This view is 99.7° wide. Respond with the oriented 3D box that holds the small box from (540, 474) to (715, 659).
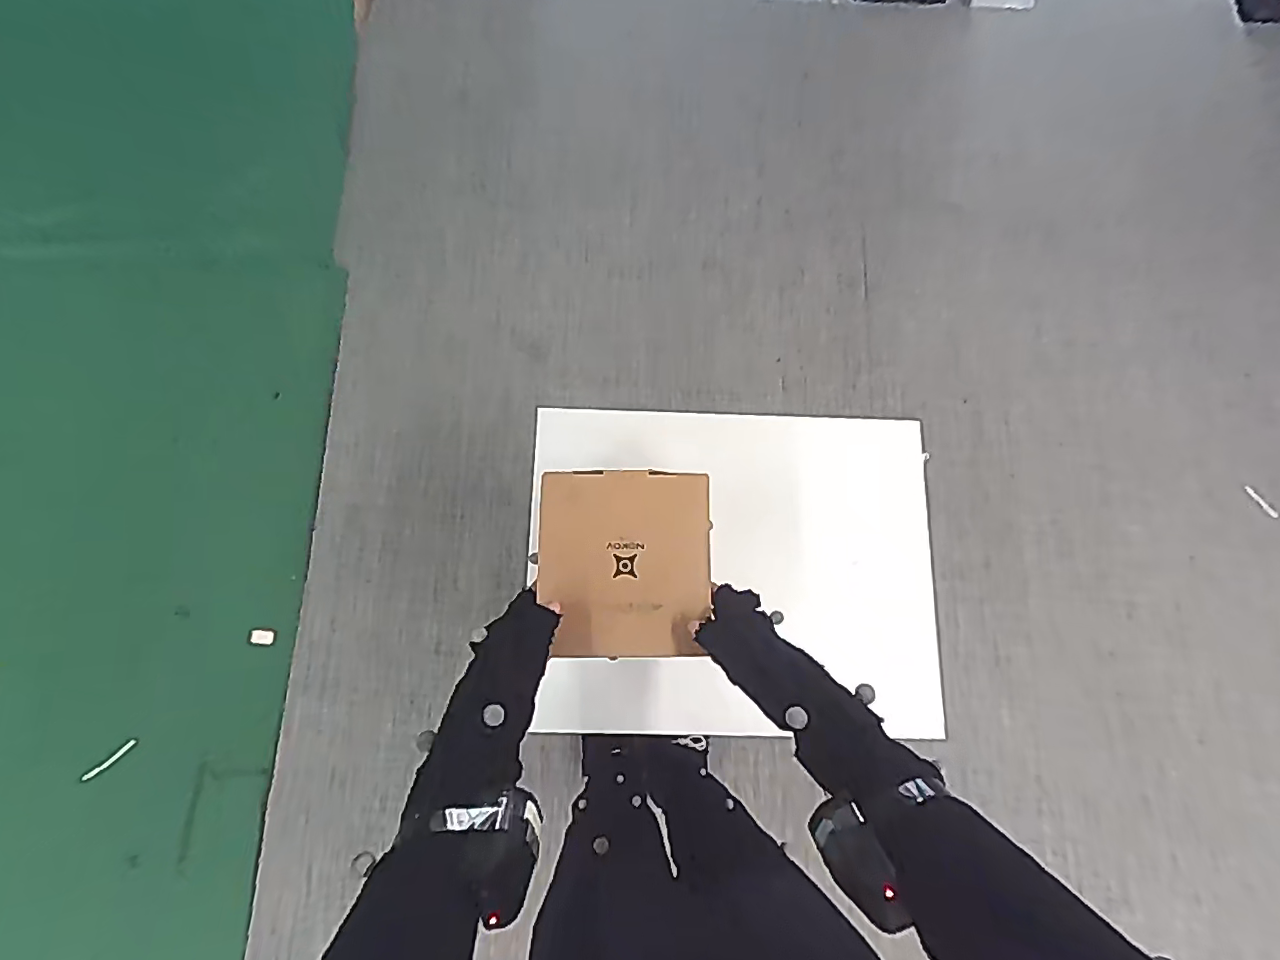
[{"bbox_3d":[-0.014,0.095,0.594,0.168,0.176,0.179,-1,80,-1],"label":"small box"}]
